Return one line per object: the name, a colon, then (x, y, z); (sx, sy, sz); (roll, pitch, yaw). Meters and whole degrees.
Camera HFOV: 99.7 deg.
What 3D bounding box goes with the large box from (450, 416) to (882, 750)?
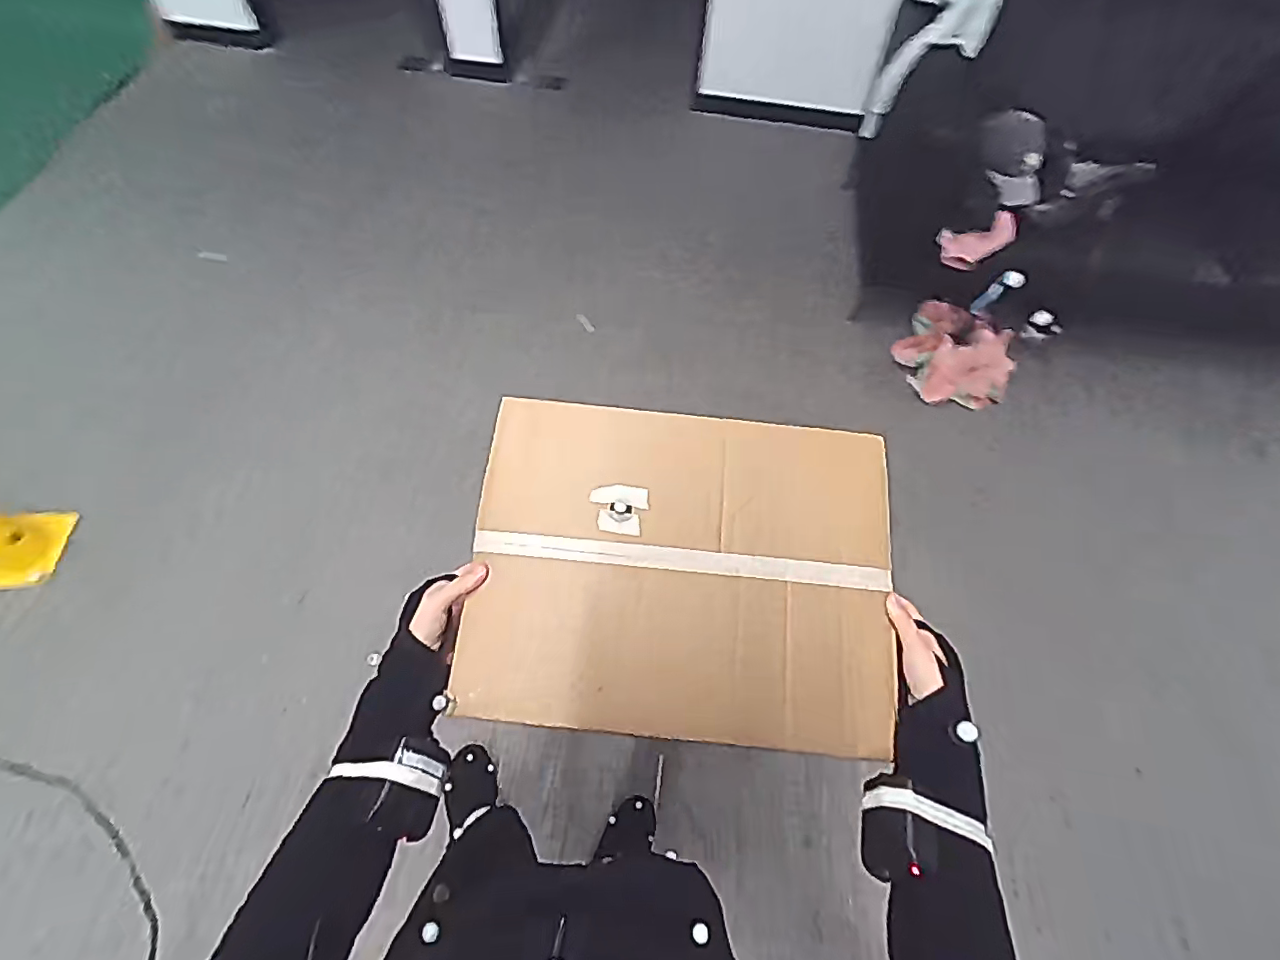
large box: (0.032, 0.133, 0.678); (0.408, 0.320, 0.320); (4, 71, 1)
